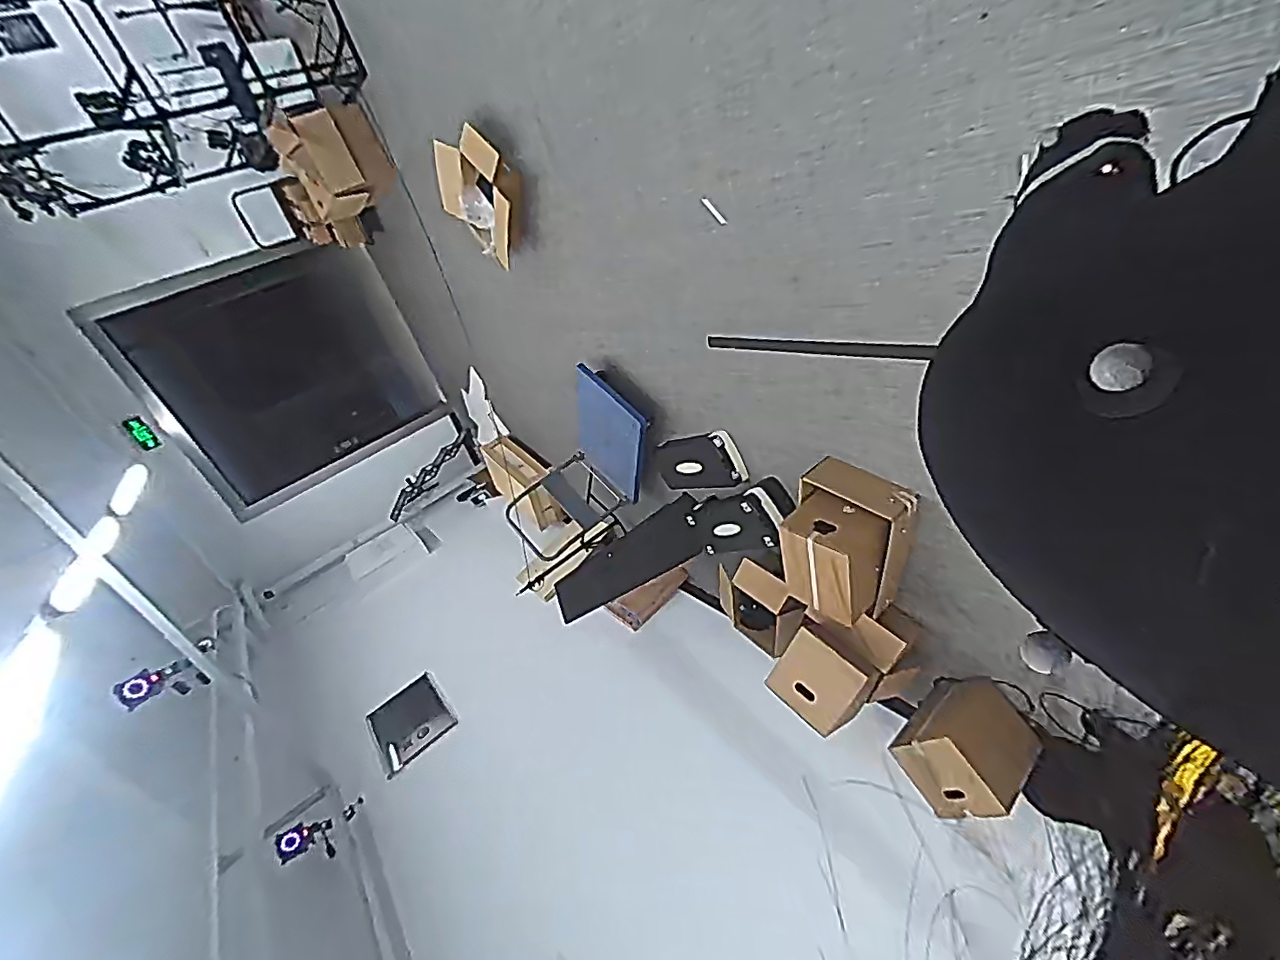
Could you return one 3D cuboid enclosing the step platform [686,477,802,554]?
[{"bbox_3d":[0.509,0.205,2.807,0.286,0.204,0.684,56,154,-3],"label":"step platform"}]
